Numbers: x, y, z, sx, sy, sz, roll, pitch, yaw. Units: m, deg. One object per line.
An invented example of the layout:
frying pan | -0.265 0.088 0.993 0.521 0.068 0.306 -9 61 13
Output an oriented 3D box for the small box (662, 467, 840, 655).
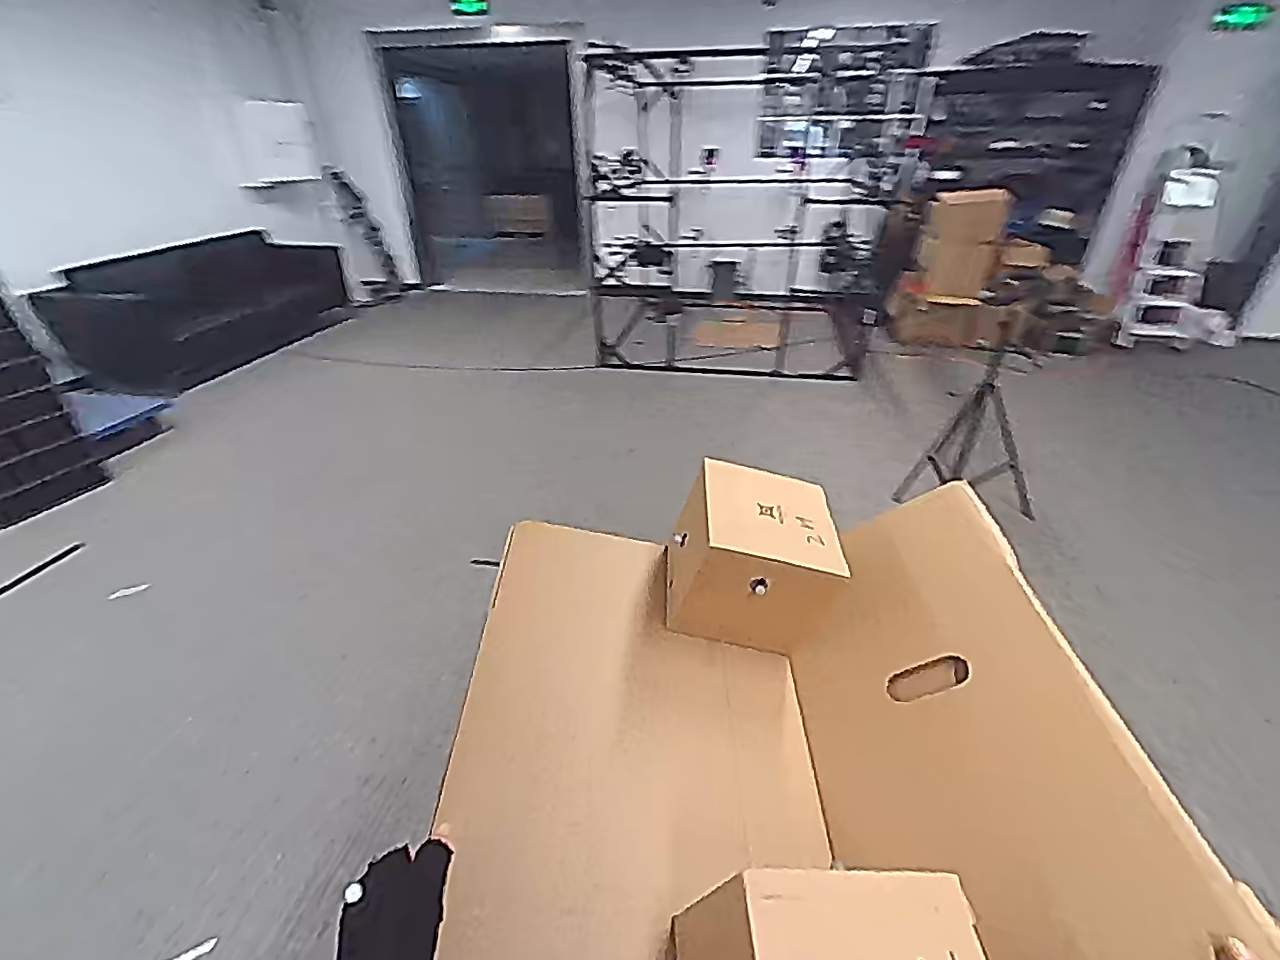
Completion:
small box | 0.133 0.111 0.726 0.179 0.176 0.168 14 39 -8
